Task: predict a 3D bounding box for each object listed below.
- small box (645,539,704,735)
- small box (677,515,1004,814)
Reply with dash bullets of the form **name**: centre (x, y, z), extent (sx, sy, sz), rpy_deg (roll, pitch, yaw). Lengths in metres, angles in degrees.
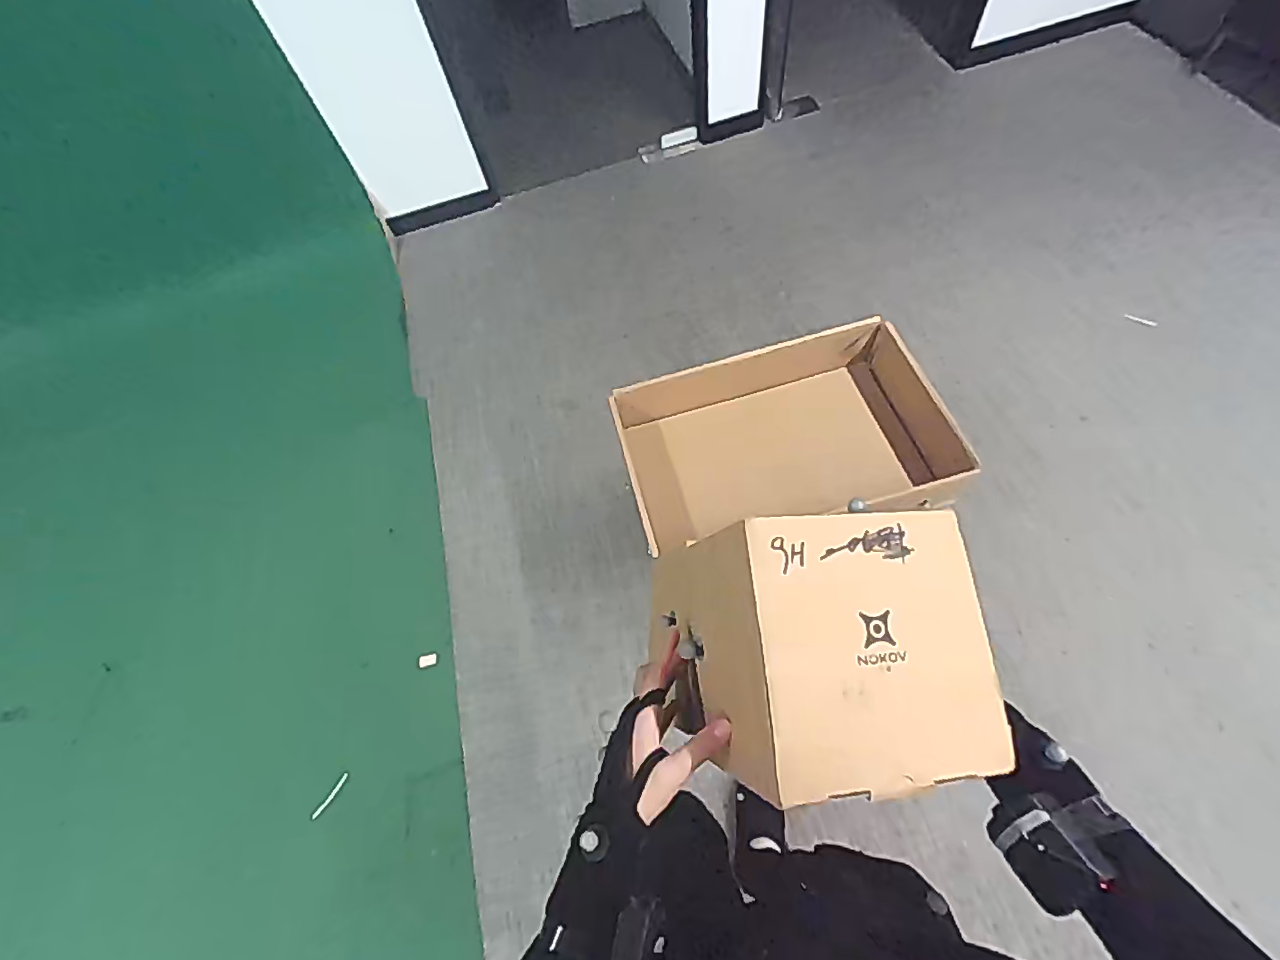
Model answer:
- **small box**: centre (0.102, 0.170, 0.582), extent (0.168, 0.176, 0.179), rpy_deg (6, 72, -9)
- **small box**: centre (0.133, 0.129, 0.425), extent (0.168, 0.176, 0.179), rpy_deg (-1, 76, -12)
